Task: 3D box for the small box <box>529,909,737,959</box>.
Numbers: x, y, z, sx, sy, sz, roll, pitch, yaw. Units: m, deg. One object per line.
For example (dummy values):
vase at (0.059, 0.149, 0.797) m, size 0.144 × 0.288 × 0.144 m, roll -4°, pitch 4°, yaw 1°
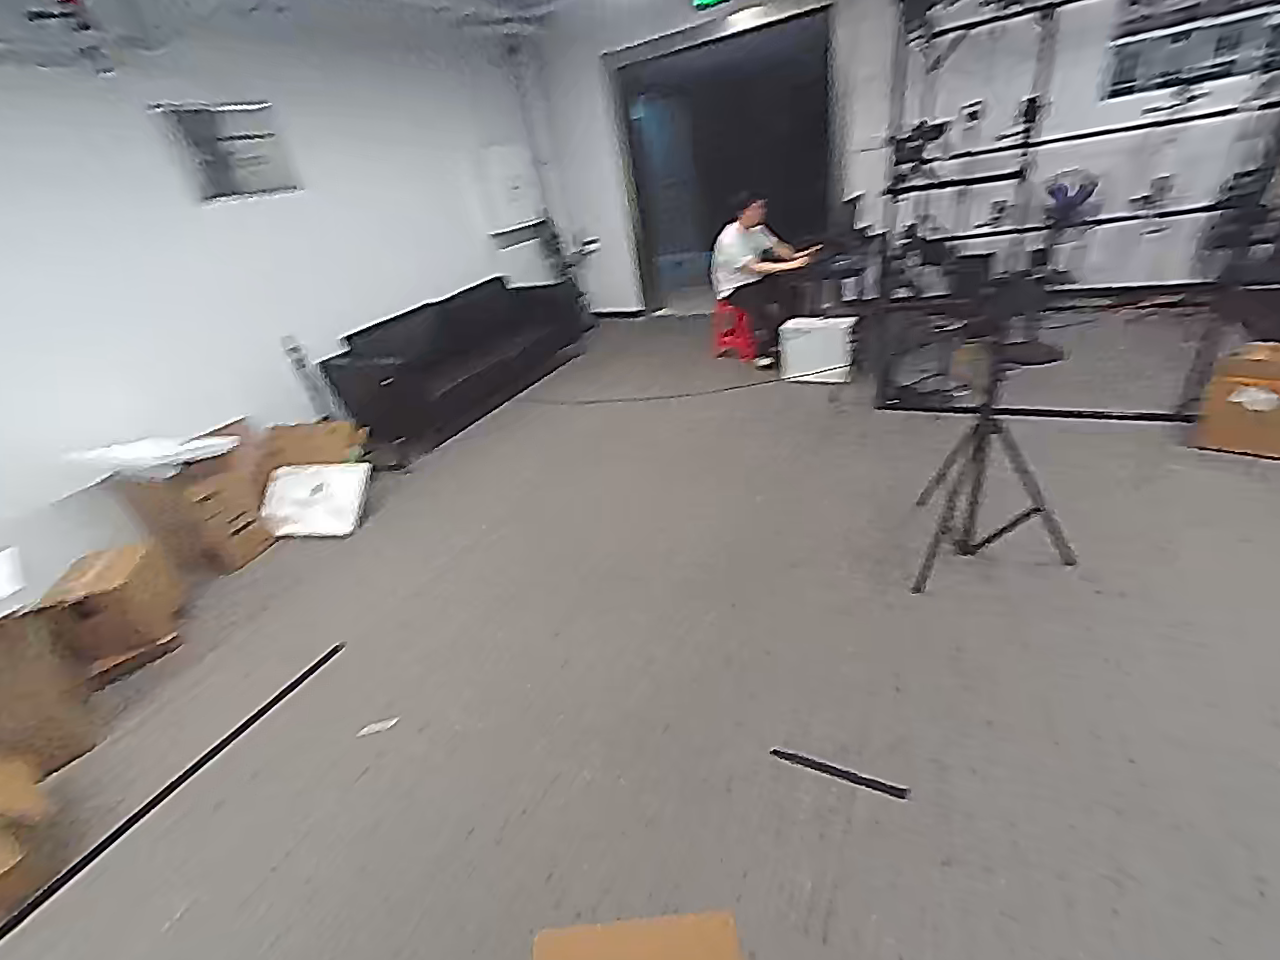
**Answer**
small box at (0.007, 0.471, 0.412) m, size 0.168 × 0.176 × 0.179 m, roll -9°, pitch 34°, yaw 2°
